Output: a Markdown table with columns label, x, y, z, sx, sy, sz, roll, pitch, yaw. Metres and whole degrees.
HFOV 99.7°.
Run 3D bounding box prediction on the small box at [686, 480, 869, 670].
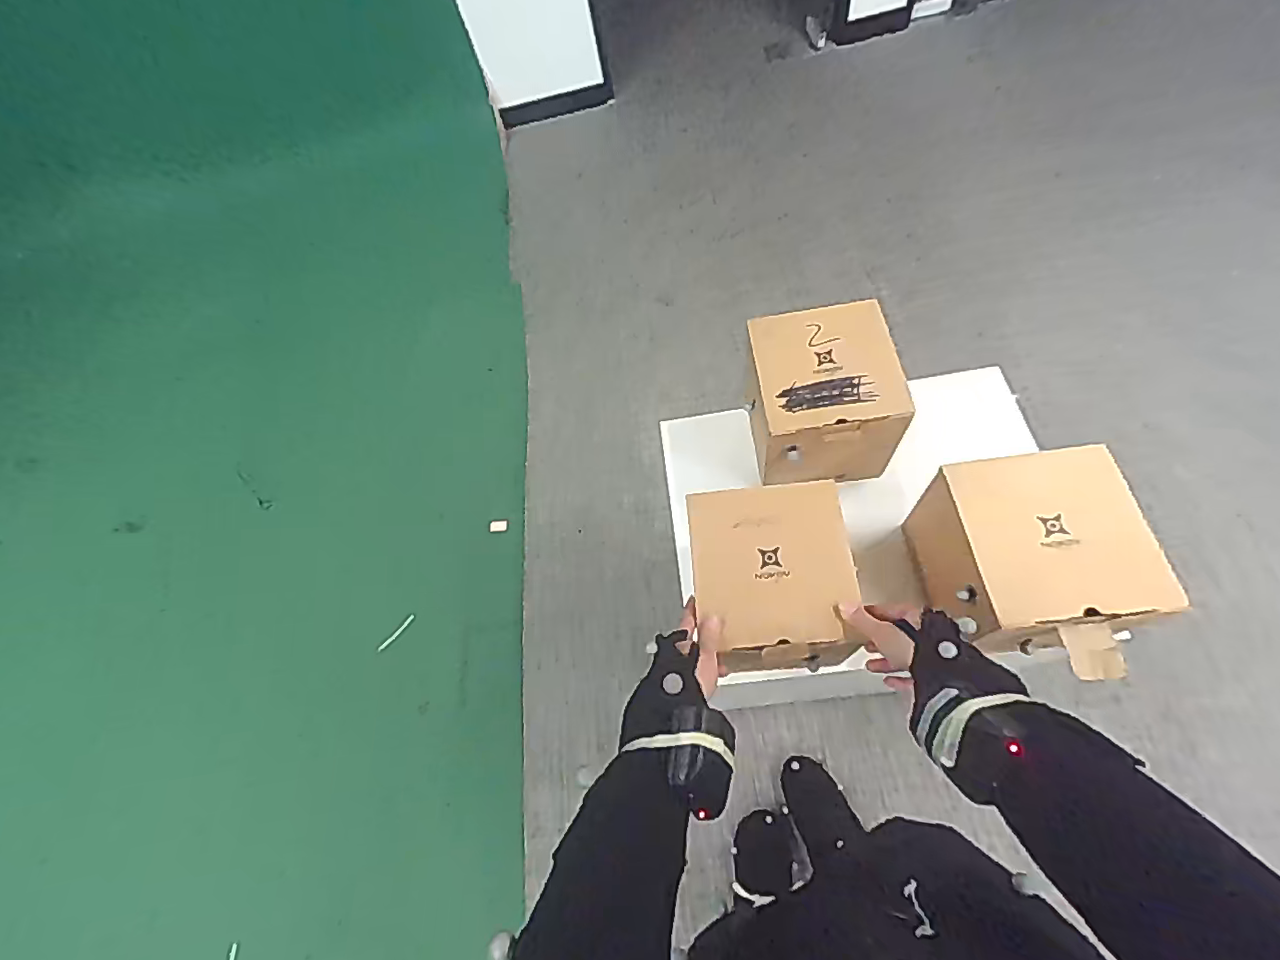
| label | x | y | z | sx | sy | sz | roll | pitch | yaw |
| --- | --- | --- | --- | --- | --- | --- | --- | --- | --- |
| small box | 0.147 | 0.121 | 0.629 | 0.168 | 0.176 | 0.179 | -6 | 62 | 6 |

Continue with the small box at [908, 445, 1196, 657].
| label | x | y | z | sx | sy | sz | roll | pitch | yaw |
| --- | --- | --- | --- | --- | --- | --- | --- | --- | --- |
| small box | 0.420 | 0.085 | 0.597 | 0.168 | 0.176 | 0.179 | -8 | 62 | 6 |
